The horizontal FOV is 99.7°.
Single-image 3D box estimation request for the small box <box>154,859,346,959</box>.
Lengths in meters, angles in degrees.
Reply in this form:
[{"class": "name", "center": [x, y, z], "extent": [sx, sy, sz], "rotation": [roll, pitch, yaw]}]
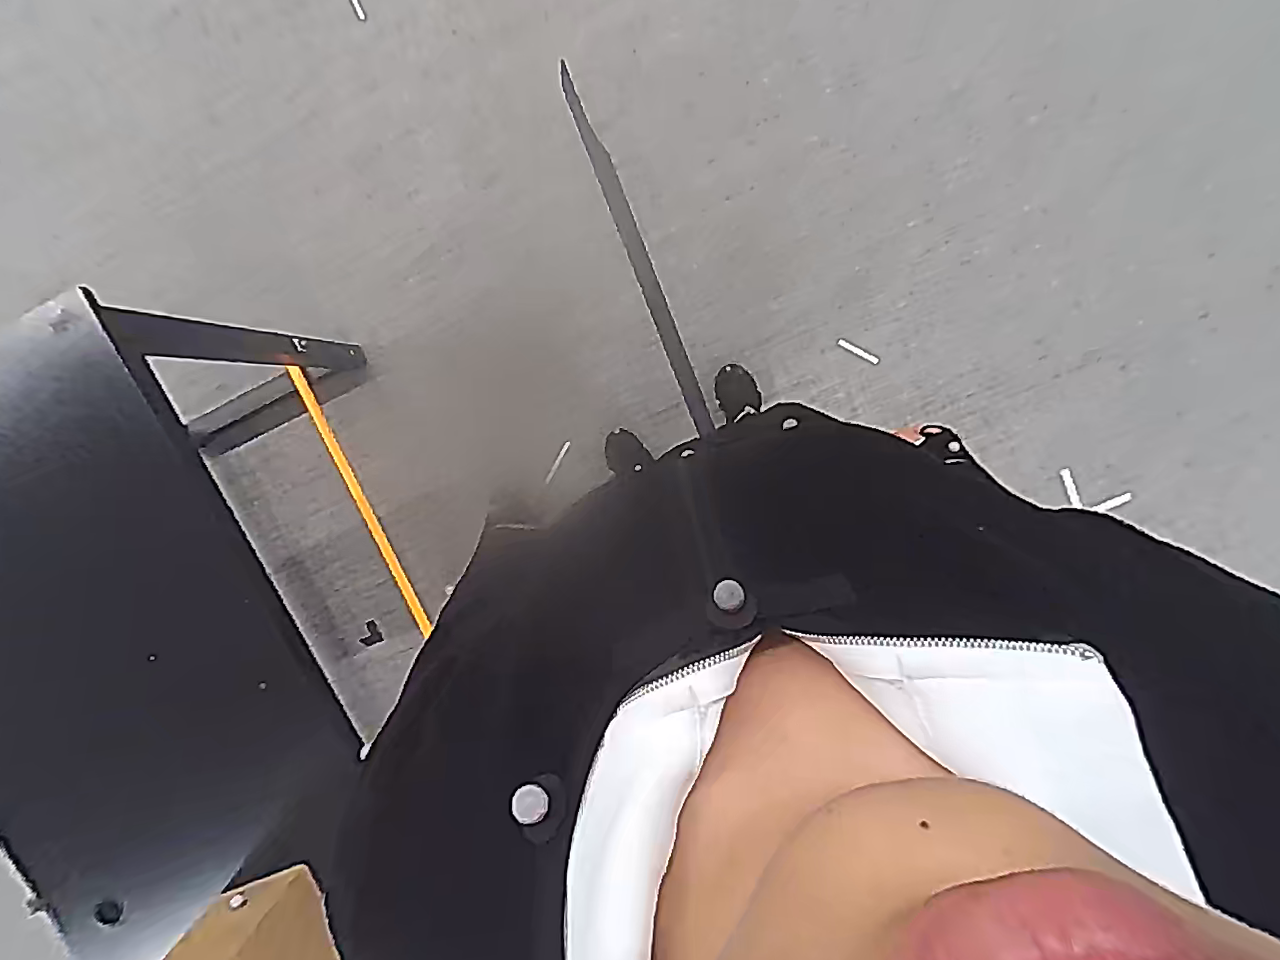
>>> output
[{"class": "small box", "center": [-0.582, 0.723, 0.806], "extent": [0.168, 0.176, 0.179], "rotation": [-23, 97, 4]}]
